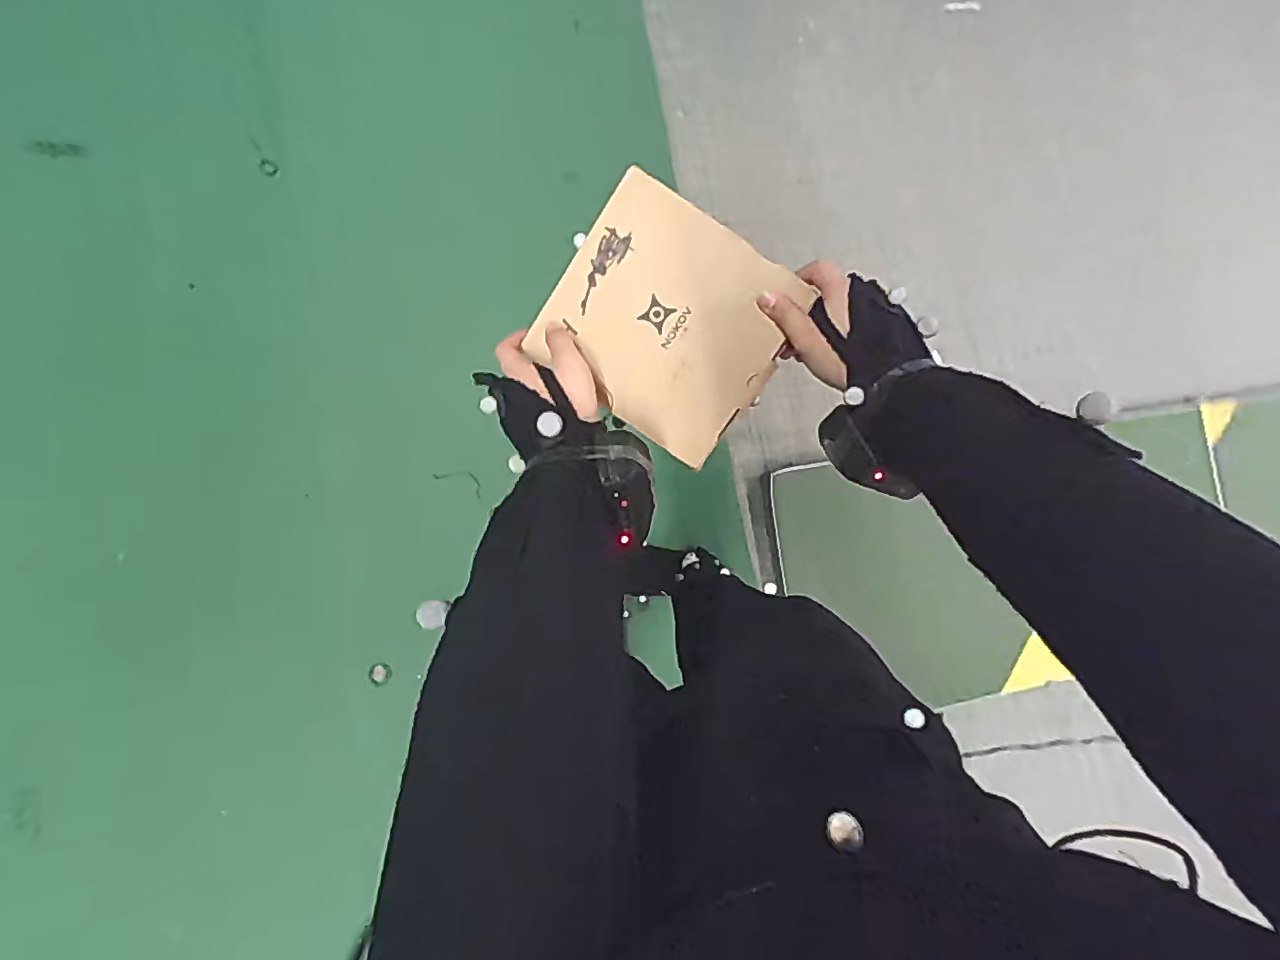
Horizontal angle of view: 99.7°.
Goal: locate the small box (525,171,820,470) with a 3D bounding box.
[{"bbox_3d":[0.029,-0.132,0.501,0.179,0.176,0.168,36,97,-1],"label":"small box"}]
